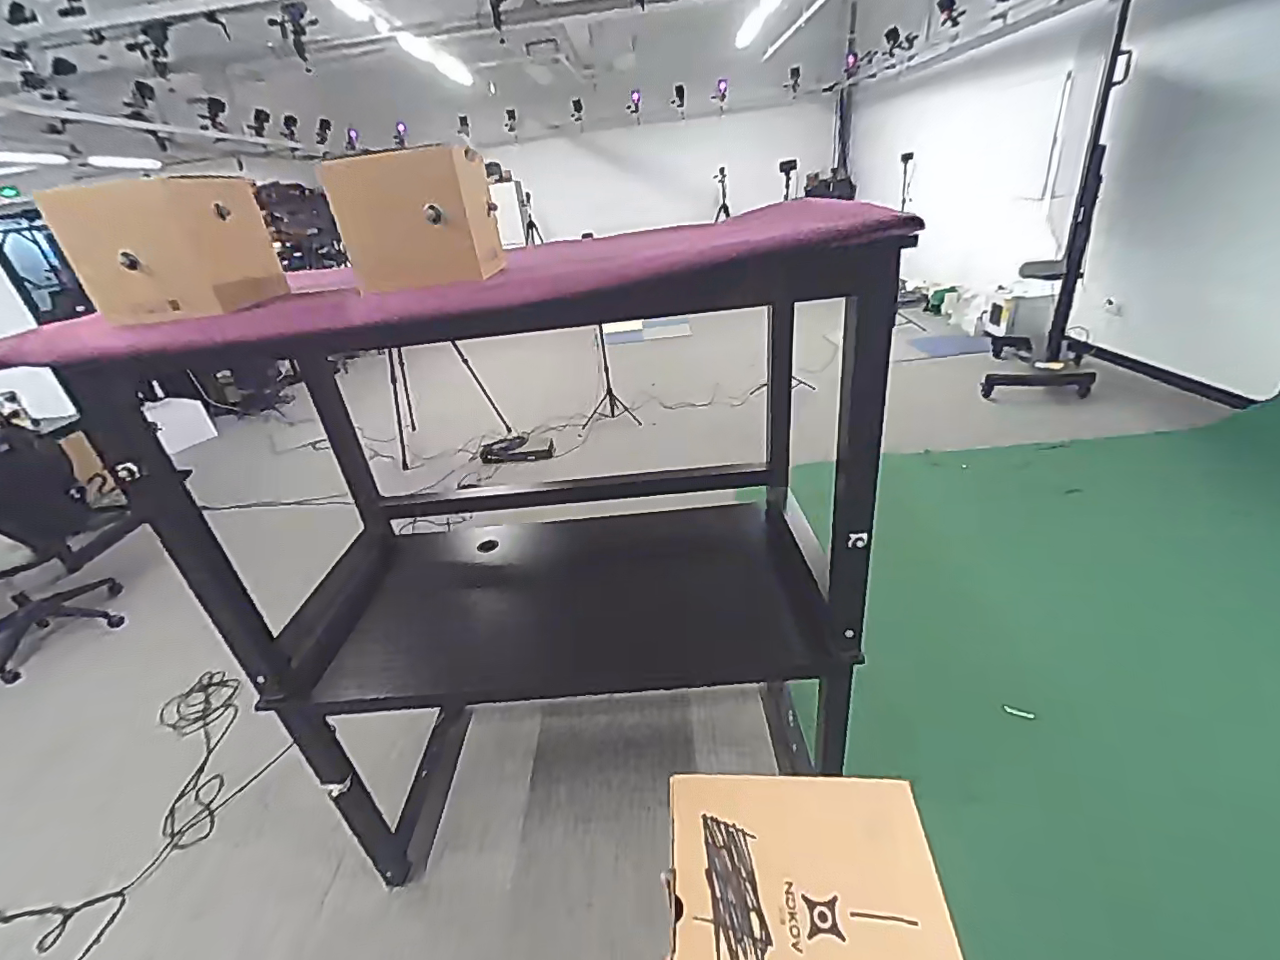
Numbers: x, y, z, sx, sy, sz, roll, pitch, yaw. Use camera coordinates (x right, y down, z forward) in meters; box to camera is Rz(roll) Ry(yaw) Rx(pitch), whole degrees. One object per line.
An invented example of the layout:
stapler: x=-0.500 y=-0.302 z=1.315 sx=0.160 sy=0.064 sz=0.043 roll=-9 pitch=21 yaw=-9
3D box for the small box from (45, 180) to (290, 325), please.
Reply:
small box: x=-0.646 y=-0.323 z=0.773 sx=0.168 sy=0.176 sz=0.179 roll=-6 pitch=28 yaw=1

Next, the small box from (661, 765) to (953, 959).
small box: x=0.107 y=0.332 z=0.398 sx=0.179 sy=0.176 sz=0.168 roll=-1 pitch=40 yaw=5

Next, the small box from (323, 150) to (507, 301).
small box: x=-0.307 y=-0.367 z=0.785 sx=0.179 sy=0.176 sz=0.168 roll=-7 pitch=27 yaw=3
